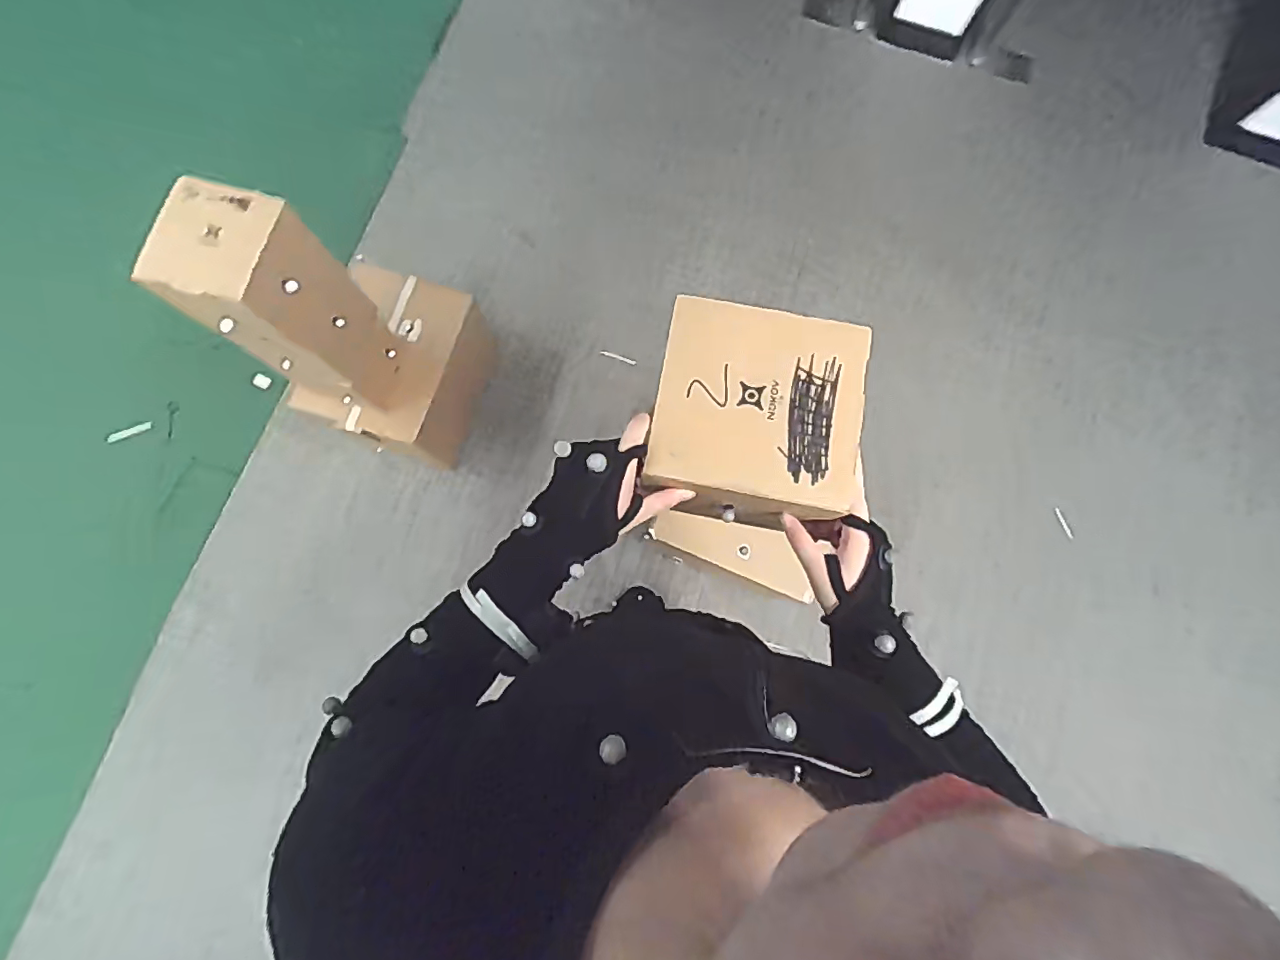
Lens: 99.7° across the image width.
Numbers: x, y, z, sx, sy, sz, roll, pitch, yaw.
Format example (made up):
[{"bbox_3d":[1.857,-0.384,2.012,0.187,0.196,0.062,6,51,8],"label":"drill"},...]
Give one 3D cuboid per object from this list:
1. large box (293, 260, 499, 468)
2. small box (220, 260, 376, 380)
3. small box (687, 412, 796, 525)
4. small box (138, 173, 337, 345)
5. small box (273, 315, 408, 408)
[{"bbox_3d":[-0.616,-0.286,1.439,0.320,0.320,0.408,18,78,1],"label":"large box"},{"bbox_3d":[-0.633,-0.311,1.028,0.168,0.176,0.179,13,78,-1],"label":"small box"},{"bbox_3d":[0.211,-0.016,1.177,0.168,0.176,0.179,24,77,2],"label":"small box"},{"bbox_3d":[-0.624,-0.341,0.866,0.168,0.176,0.179,15,79,0],"label":"small box"},{"bbox_3d":[-0.643,-0.273,1.187,0.179,0.176,0.168,16,78,2],"label":"small box"}]
